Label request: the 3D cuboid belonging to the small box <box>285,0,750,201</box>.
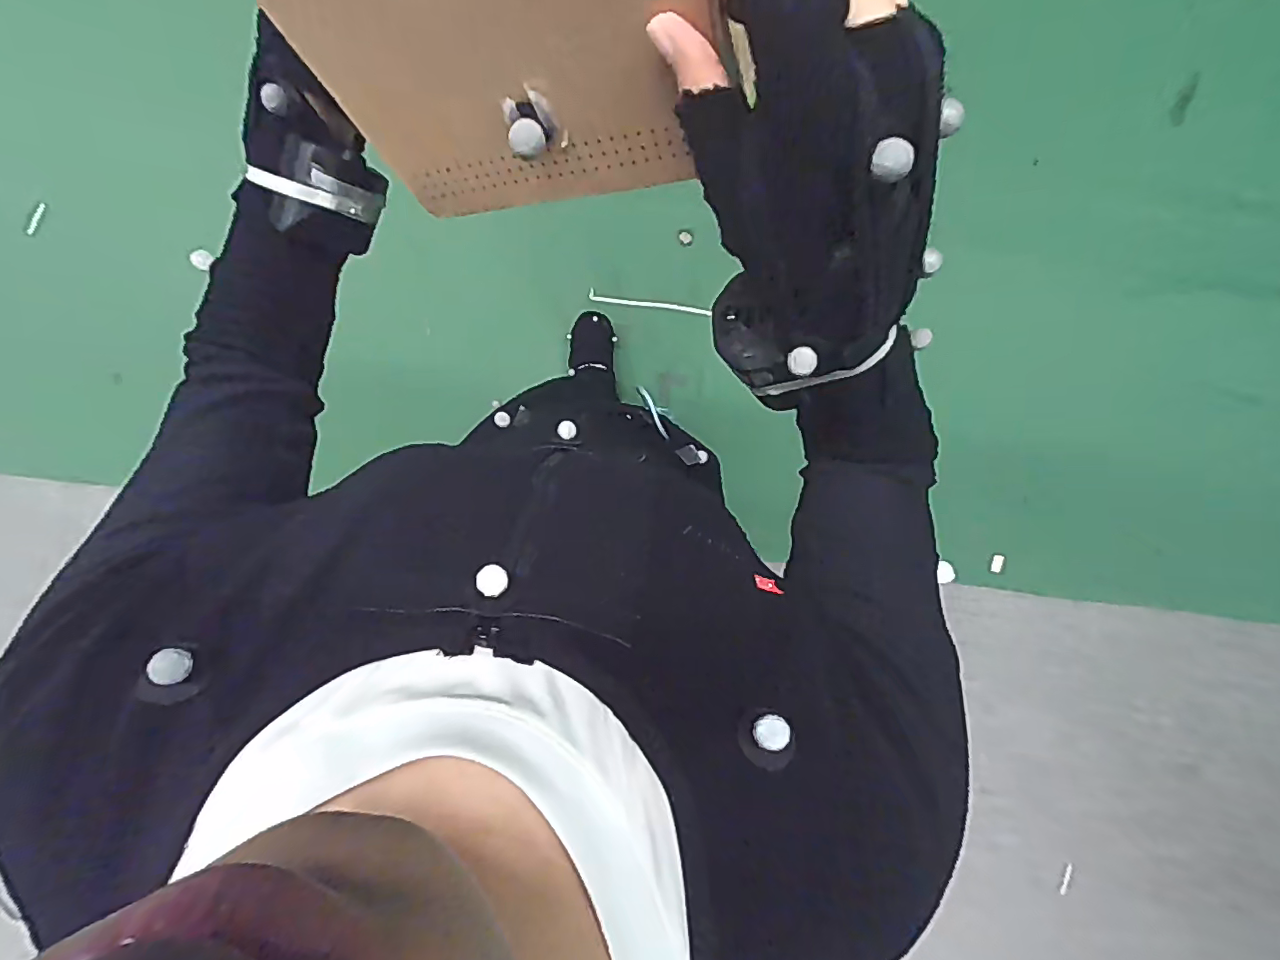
[{"bbox_3d":[-0.046,-0.258,0.240,0.179,0.176,0.168,2,68,19],"label":"small box"}]
